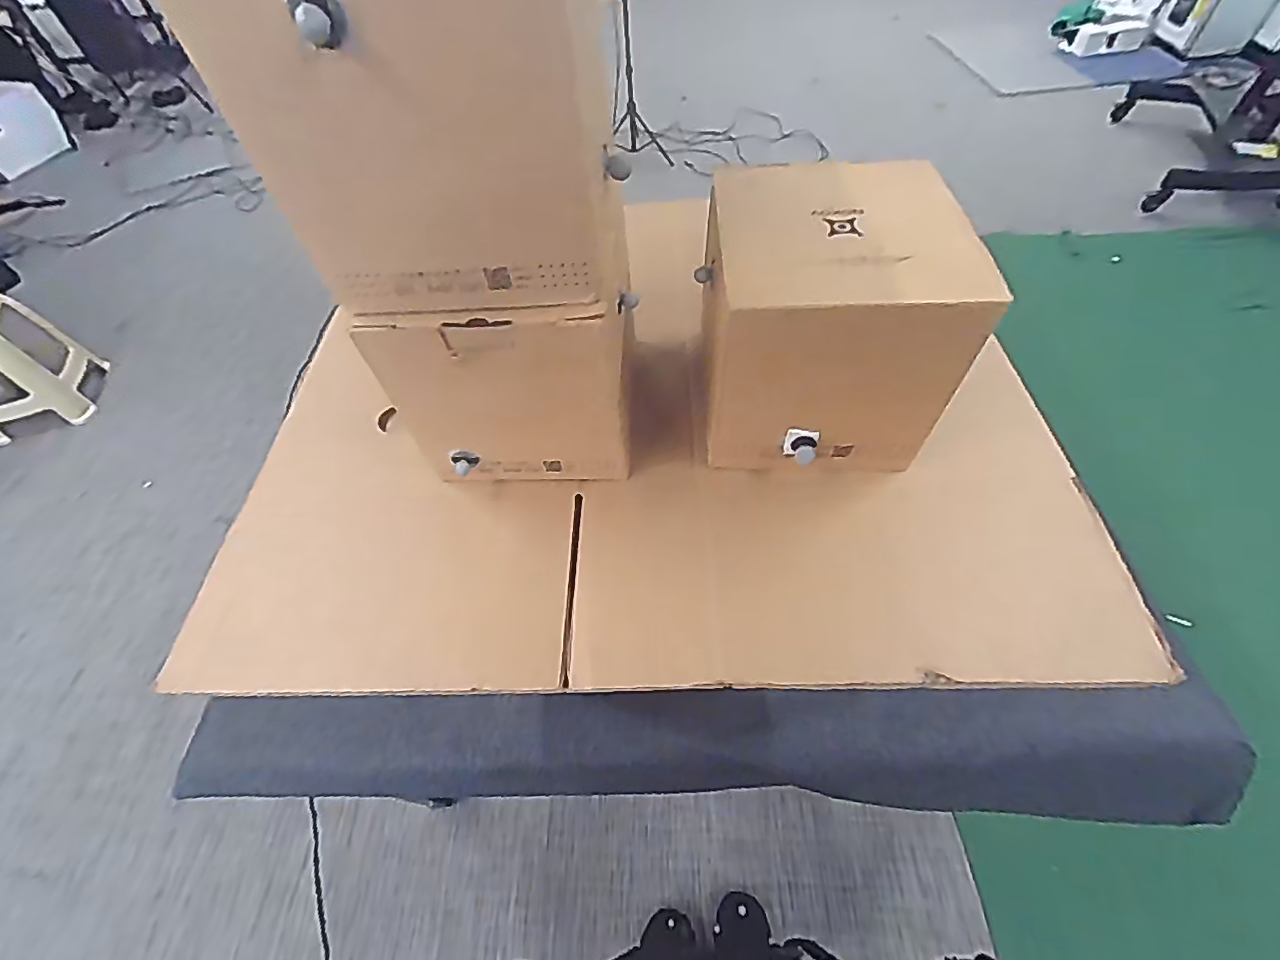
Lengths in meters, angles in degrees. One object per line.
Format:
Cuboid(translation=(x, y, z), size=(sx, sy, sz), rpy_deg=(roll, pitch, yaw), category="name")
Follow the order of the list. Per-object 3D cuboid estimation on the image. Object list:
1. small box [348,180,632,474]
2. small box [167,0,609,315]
Cuboid(translation=(-0.096, -0.117, 0.448), size=(0.168, 0.176, 0.179), rpy_deg=(-1, 54, 4), category="small box")
Cuboid(translation=(-0.111, -0.221, 0.322), size=(0.168, 0.176, 0.179), rpy_deg=(-2, 54, 3), category="small box")
